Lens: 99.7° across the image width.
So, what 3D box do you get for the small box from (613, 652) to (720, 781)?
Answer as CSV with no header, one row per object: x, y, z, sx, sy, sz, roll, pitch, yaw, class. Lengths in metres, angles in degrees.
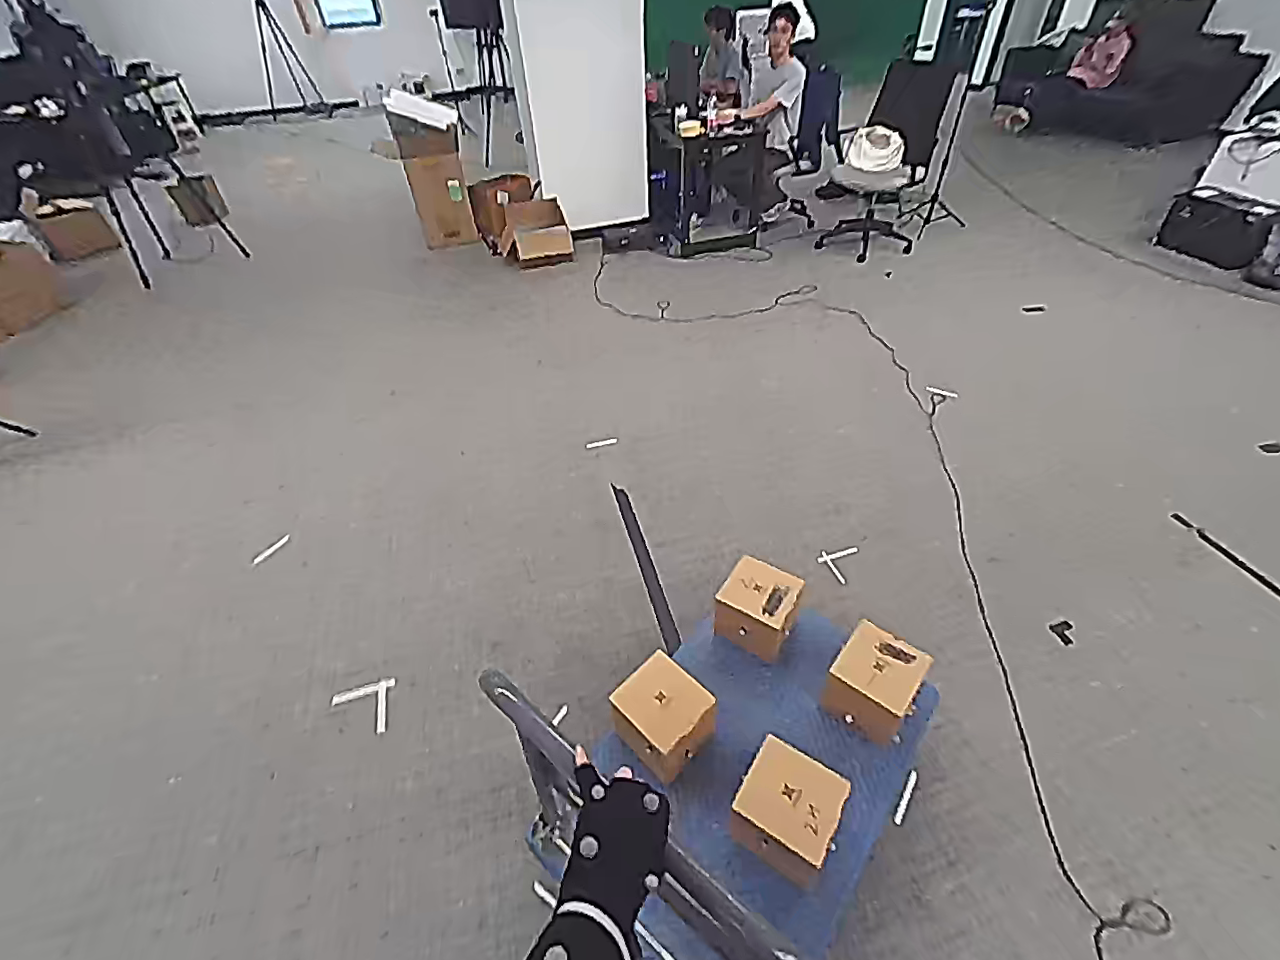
0.058,0.537,1.224,0.168,0.176,0.179,-35,52,-30,small box

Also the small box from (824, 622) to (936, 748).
0.546,0.472,1.249,0.168,0.176,0.179,29,53,31,small box

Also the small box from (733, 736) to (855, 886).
0.296,0.657,1.069,0.179,0.176,0.168,23,49,28,small box
